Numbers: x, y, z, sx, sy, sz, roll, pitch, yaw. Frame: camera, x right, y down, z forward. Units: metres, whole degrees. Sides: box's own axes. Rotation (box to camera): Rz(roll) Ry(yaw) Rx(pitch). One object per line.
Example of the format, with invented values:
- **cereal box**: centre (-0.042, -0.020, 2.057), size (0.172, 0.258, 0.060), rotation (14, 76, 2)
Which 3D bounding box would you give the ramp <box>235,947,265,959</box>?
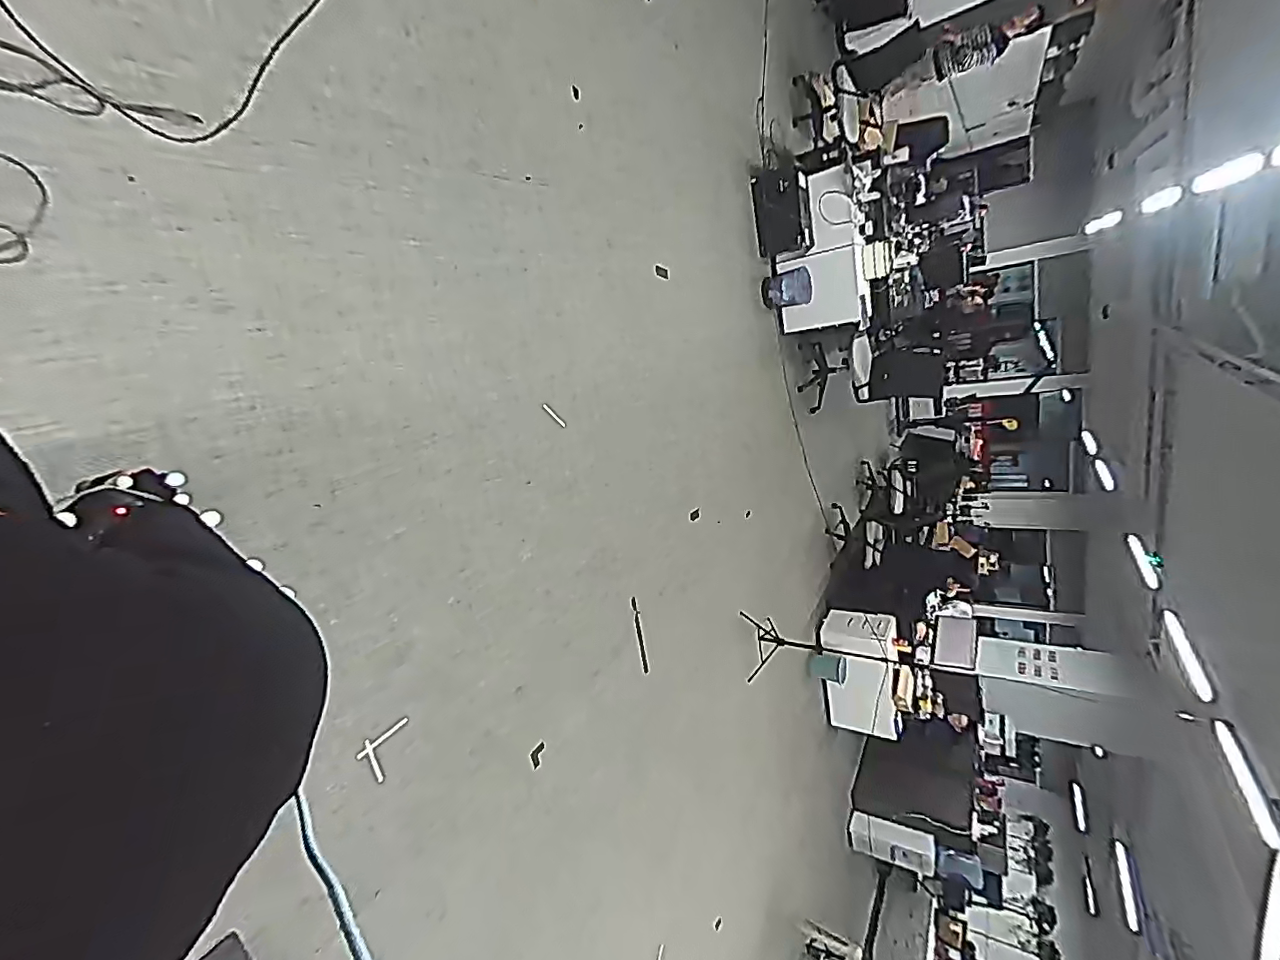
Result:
- **ramp**: centre (-0.823, 1.581, 1.096), size (0.509, 0.206, 0.991), rotation (-32, 113, -50)
